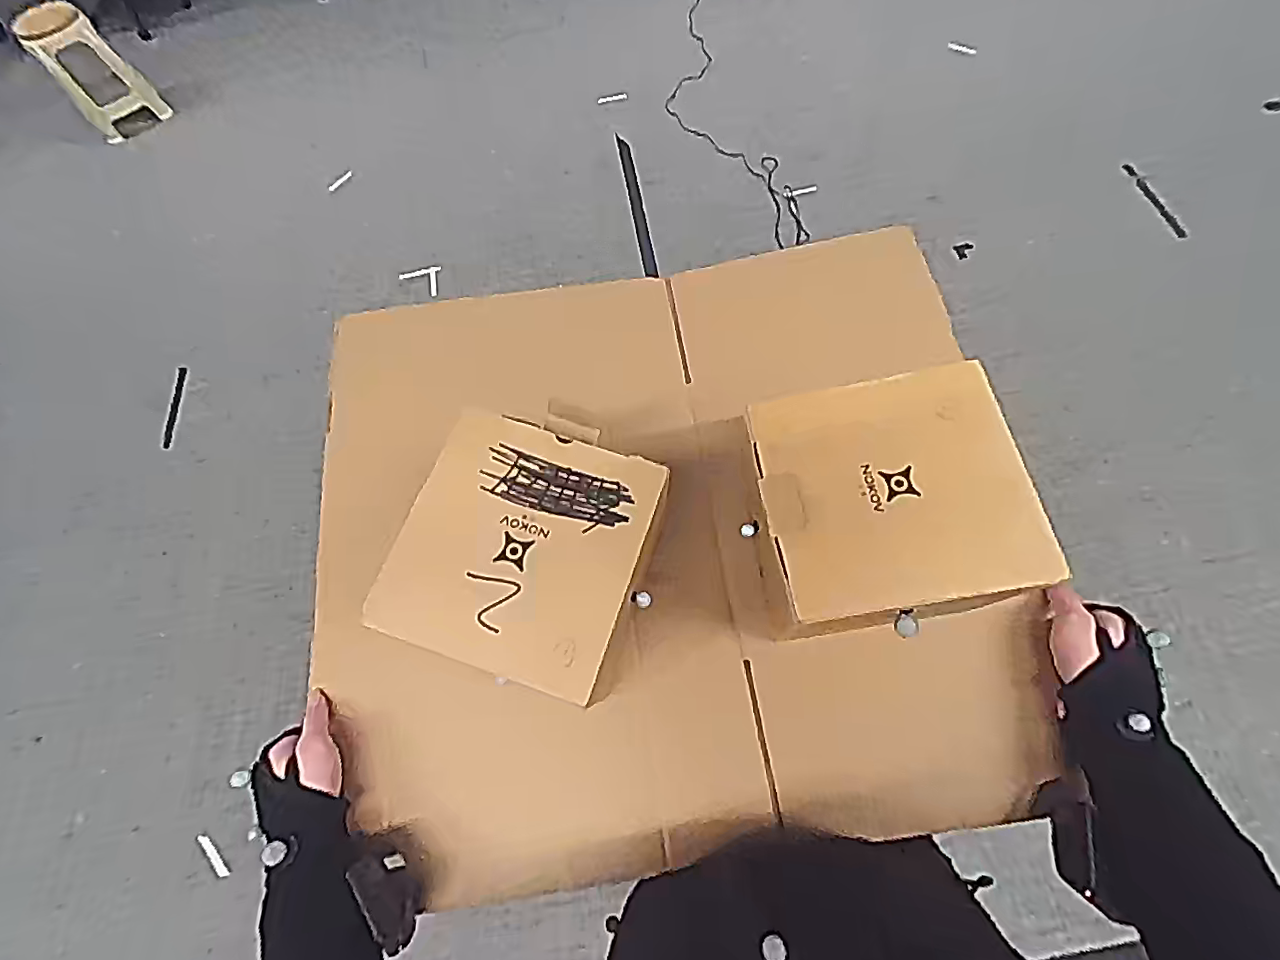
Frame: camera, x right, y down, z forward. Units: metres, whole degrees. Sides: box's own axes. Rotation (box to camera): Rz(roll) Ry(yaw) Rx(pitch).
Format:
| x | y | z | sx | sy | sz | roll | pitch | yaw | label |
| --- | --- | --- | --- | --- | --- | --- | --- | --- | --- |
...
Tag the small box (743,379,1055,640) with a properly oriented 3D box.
| x | y | z | sx | sy | sz | roll | pitch | yaw | label |
| --- | --- | --- | --- | --- | --- | --- | --- | --- | --- |
| 0.193 | 0.039 | 0.467 | 0.179 | 0.176 | 0.168 | -11 | 69 | 5 | small box |
